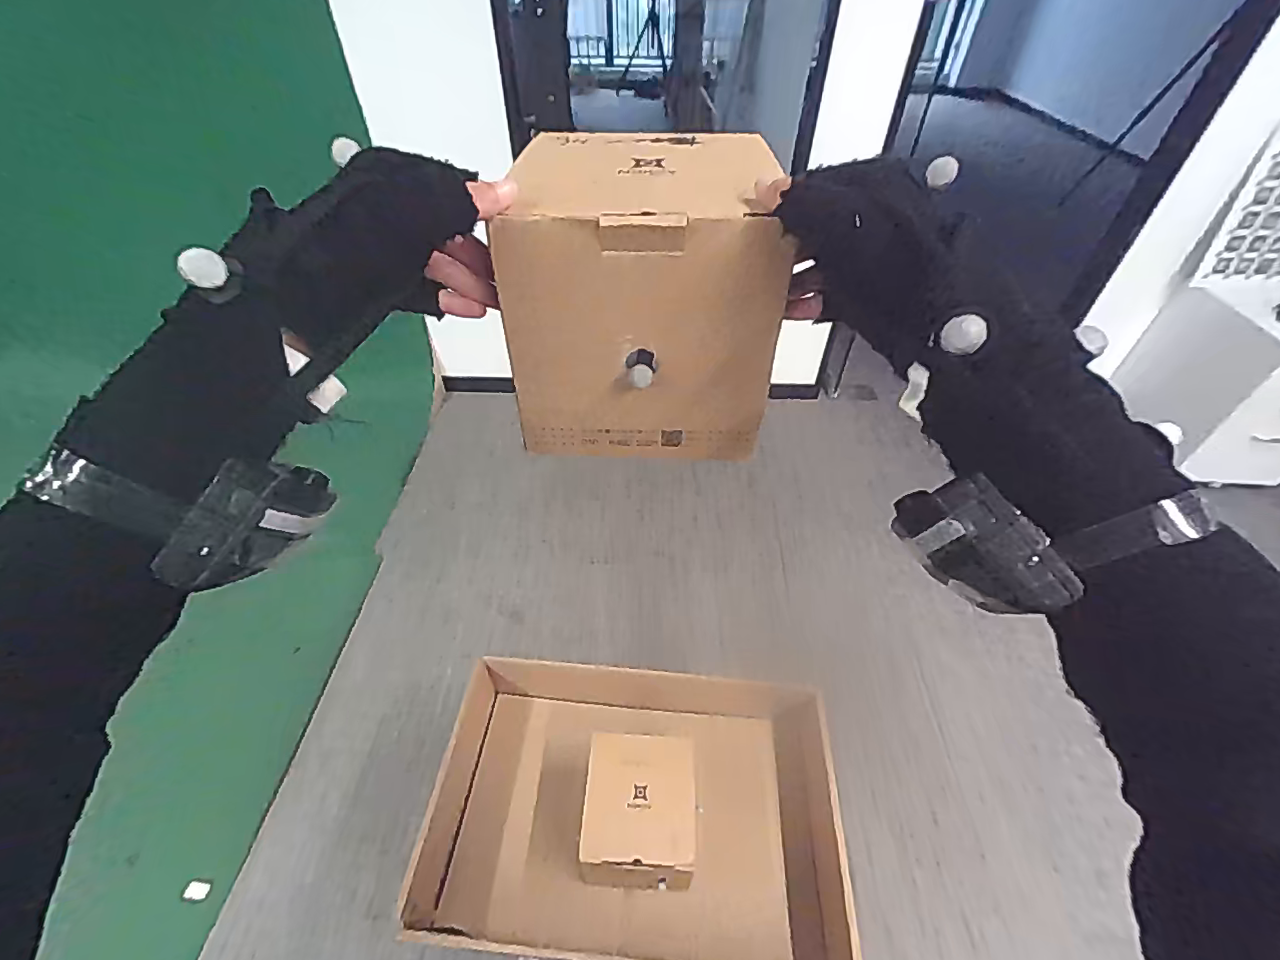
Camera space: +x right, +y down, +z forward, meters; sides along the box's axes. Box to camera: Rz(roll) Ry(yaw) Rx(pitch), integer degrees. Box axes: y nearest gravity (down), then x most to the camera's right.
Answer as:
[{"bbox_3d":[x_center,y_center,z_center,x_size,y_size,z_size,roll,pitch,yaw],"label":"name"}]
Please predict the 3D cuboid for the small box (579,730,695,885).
[{"bbox_3d":[-0.001,0.525,0.864,0.168,0.176,0.179,3,44,1],"label":"small box"}]

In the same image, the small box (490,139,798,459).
[{"bbox_3d":[0.006,-0.130,0.394,0.168,0.176,0.179,1,44,2],"label":"small box"}]
